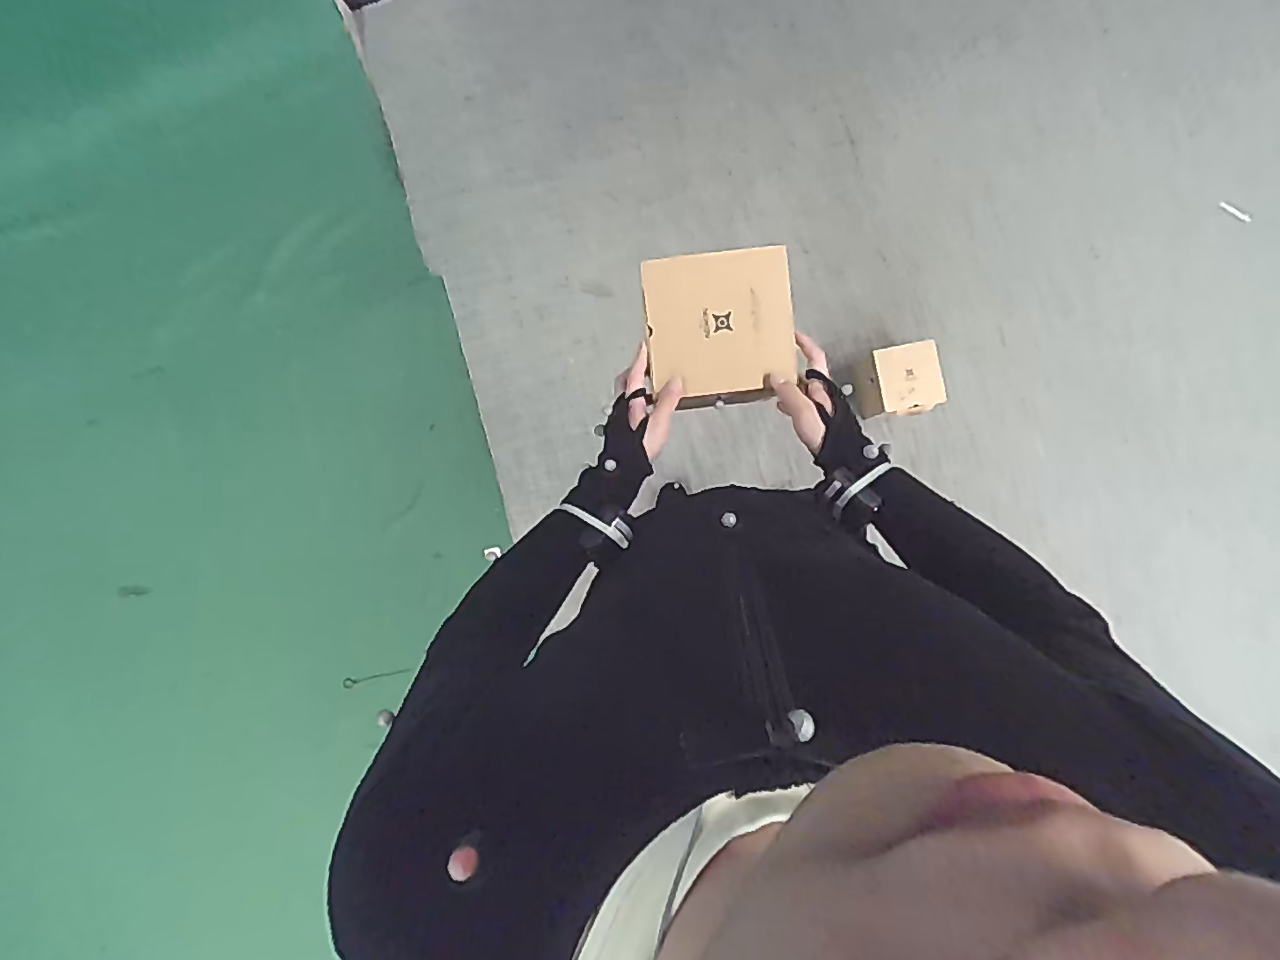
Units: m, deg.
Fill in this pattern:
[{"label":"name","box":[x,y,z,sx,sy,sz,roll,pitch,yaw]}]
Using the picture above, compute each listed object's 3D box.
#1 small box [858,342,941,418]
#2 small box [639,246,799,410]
[{"label":"small box","box":[0.724,-0.276,1.524,0.168,0.176,0.179,-4,90,6]},{"label":"small box","box":[0.098,-0.186,0.713,0.179,0.176,0.168,-6,94,3]}]
